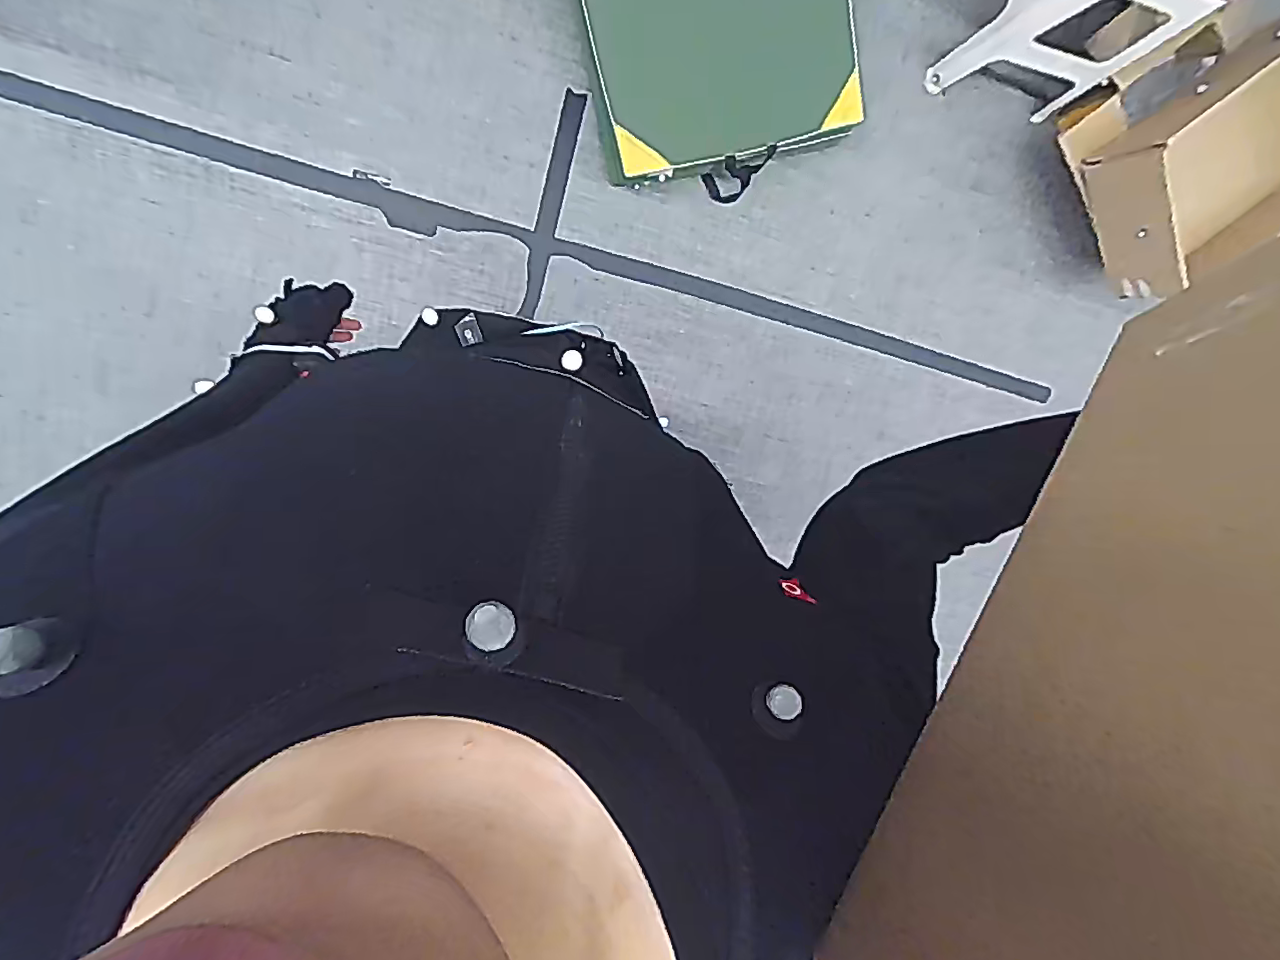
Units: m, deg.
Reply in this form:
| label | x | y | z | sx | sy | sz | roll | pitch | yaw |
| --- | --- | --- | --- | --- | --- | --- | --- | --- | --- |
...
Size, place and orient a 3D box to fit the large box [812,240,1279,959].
| label | x | y | z | sx | sy | sz | roll | pitch | yaw |
| --- | --- | --- | --- | --- | --- | --- | --- | --- | --- |
| large box | 0.329 | 0.079 | 0.122 | 0.320 | 0.320 | 0.408 | 44 | 66 | 2 |
